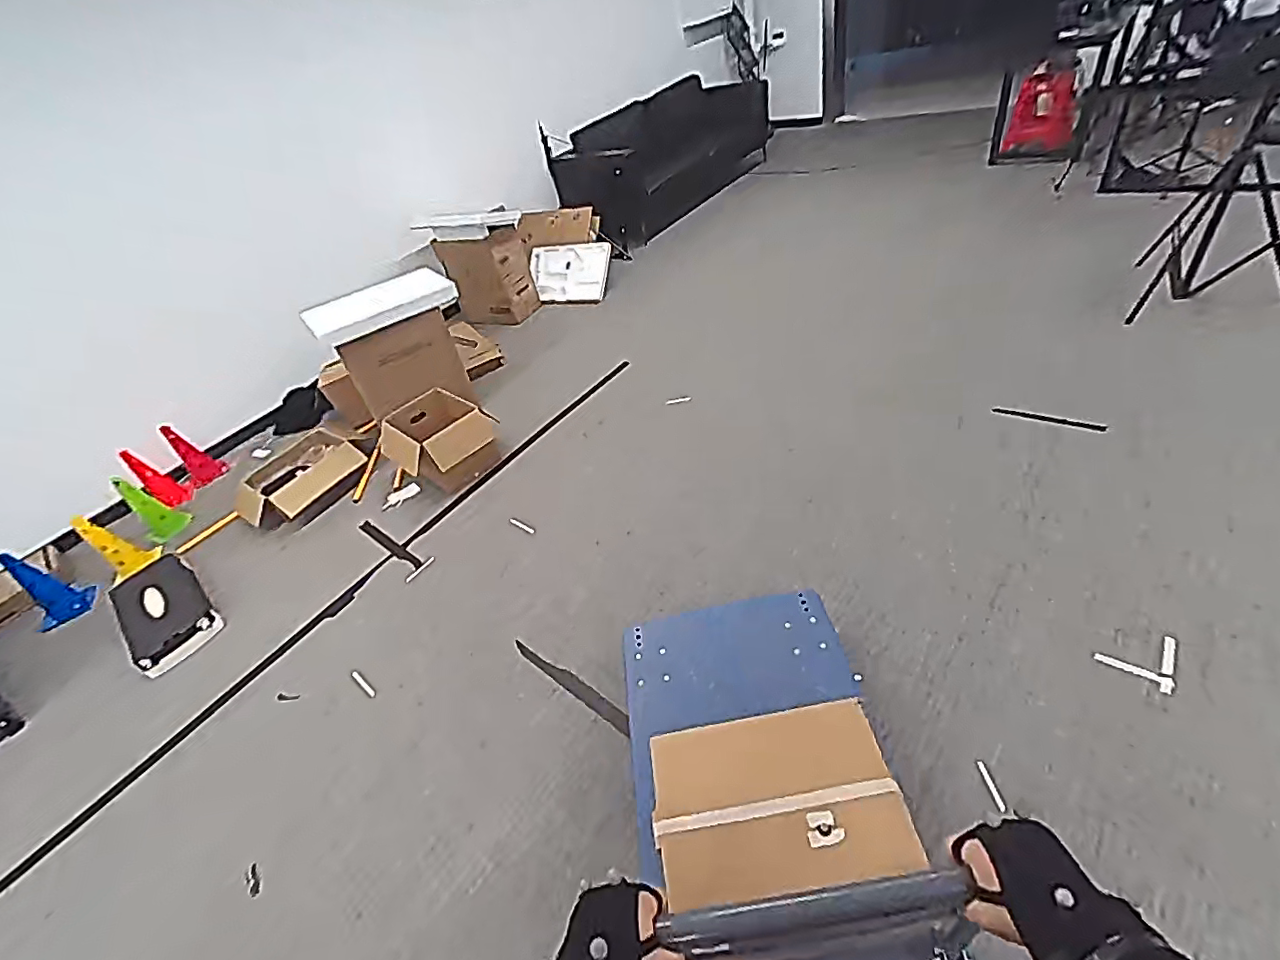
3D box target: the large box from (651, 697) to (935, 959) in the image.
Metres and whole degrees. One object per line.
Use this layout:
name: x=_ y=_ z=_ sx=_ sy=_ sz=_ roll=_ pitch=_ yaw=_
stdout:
large box: x=0.256 y=0.662 z=1.013 sx=0.408 sy=0.320 sz=0.320 roll=-12 pitch=41 yaw=2
